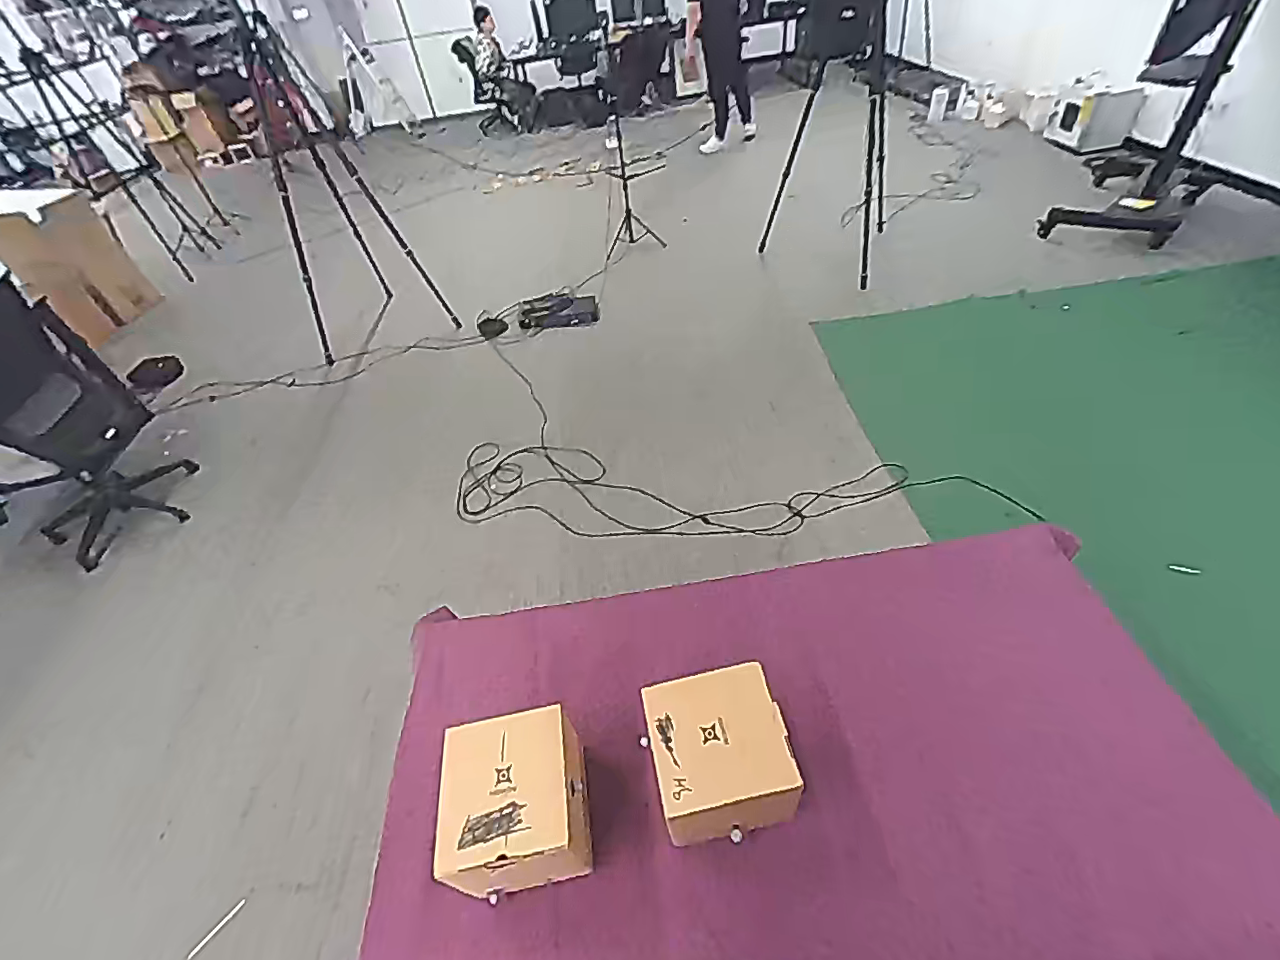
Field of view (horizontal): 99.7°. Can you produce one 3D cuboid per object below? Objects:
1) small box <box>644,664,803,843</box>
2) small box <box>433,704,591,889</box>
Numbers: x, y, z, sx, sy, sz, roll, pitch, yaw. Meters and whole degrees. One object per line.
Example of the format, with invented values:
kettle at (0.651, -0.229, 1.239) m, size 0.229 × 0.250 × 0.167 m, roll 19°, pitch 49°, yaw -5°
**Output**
small box at (0.109, 0.388, 0.764) m, size 0.179 × 0.176 × 0.168 m, roll -11°, pitch 45°, yaw -2°
small box at (-0.168, 0.444, 0.753) m, size 0.168 × 0.176 × 0.179 m, roll -11°, pitch 44°, yaw -2°
